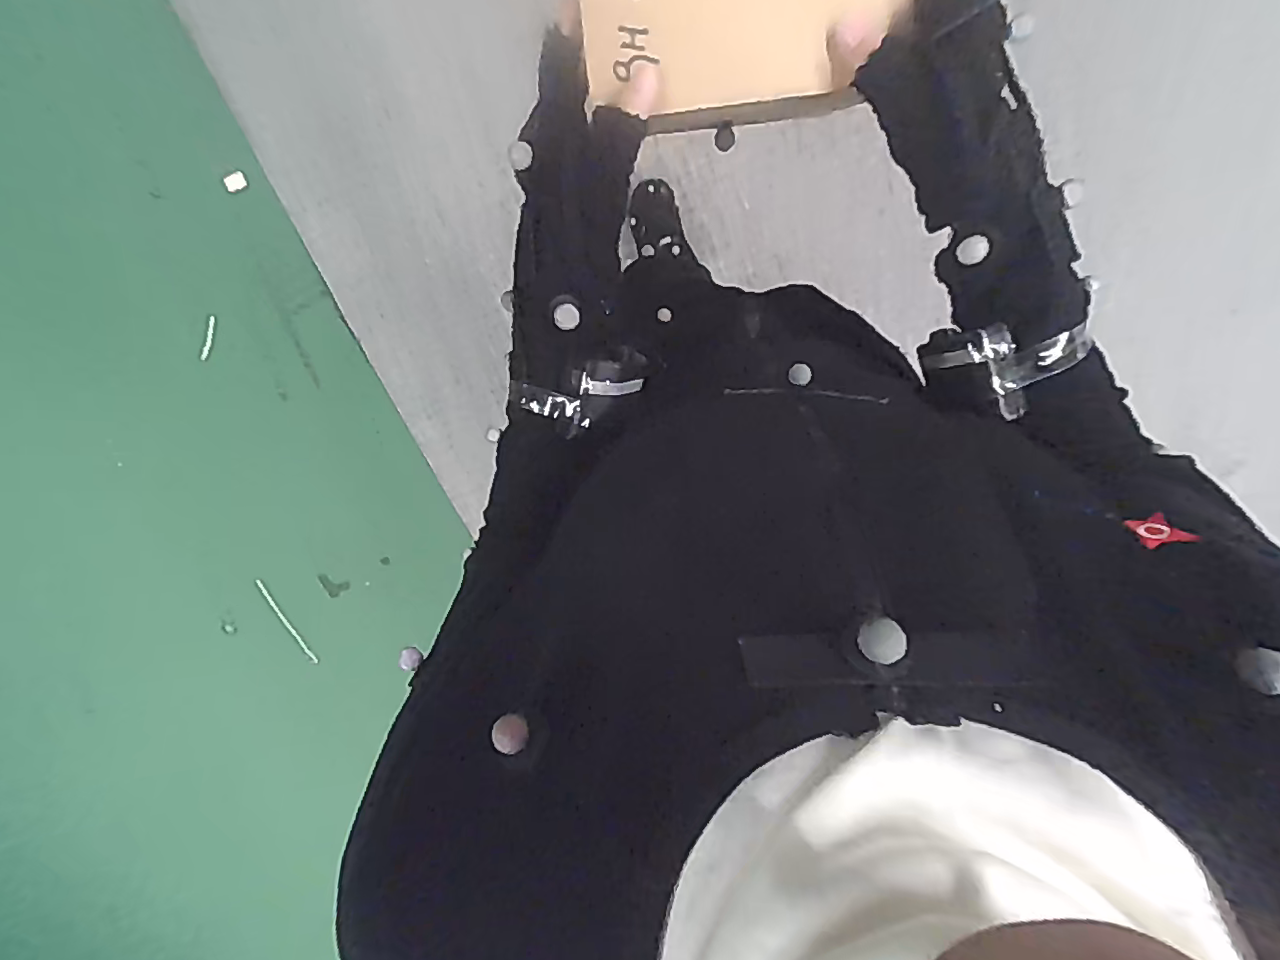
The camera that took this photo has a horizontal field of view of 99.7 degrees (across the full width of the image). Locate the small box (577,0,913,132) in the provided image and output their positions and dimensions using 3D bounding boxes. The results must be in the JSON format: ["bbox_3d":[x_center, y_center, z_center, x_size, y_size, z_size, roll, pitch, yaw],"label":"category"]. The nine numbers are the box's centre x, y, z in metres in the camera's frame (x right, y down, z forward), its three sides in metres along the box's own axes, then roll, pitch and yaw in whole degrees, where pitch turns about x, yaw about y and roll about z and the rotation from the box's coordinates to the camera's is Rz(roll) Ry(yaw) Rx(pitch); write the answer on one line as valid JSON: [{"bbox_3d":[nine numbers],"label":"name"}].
[{"bbox_3d":[0.050,-0.322,0.328,0.179,0.176,0.168,-5,118,3],"label":"small box"}]
